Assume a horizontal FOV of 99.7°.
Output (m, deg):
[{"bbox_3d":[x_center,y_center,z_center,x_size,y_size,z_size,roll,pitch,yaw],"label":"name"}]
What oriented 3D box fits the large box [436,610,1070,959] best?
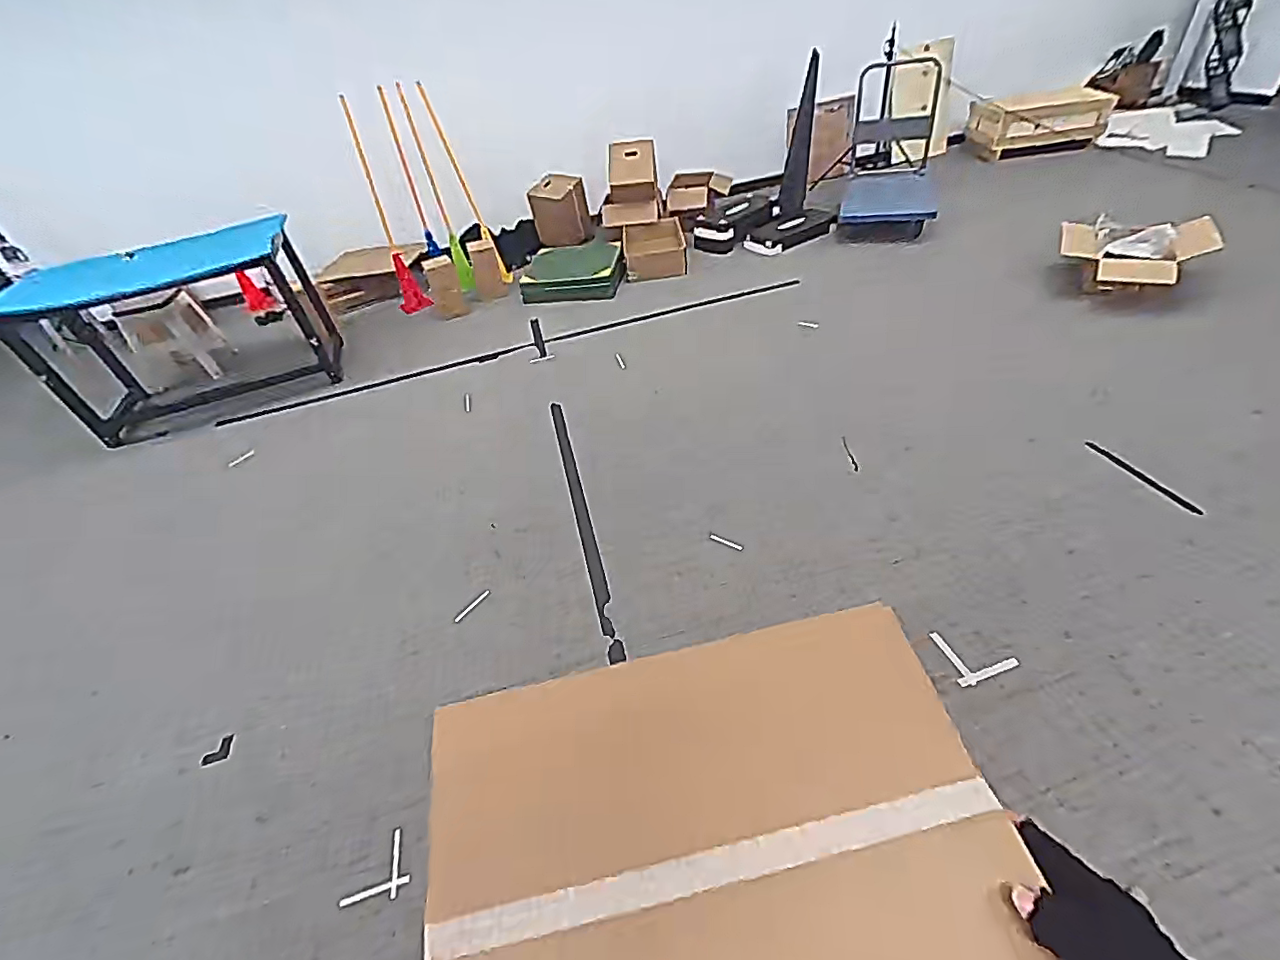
[{"bbox_3d":[0.070,0.367,0.493,0.408,0.320,0.320,-13,49,-3],"label":"large box"}]
